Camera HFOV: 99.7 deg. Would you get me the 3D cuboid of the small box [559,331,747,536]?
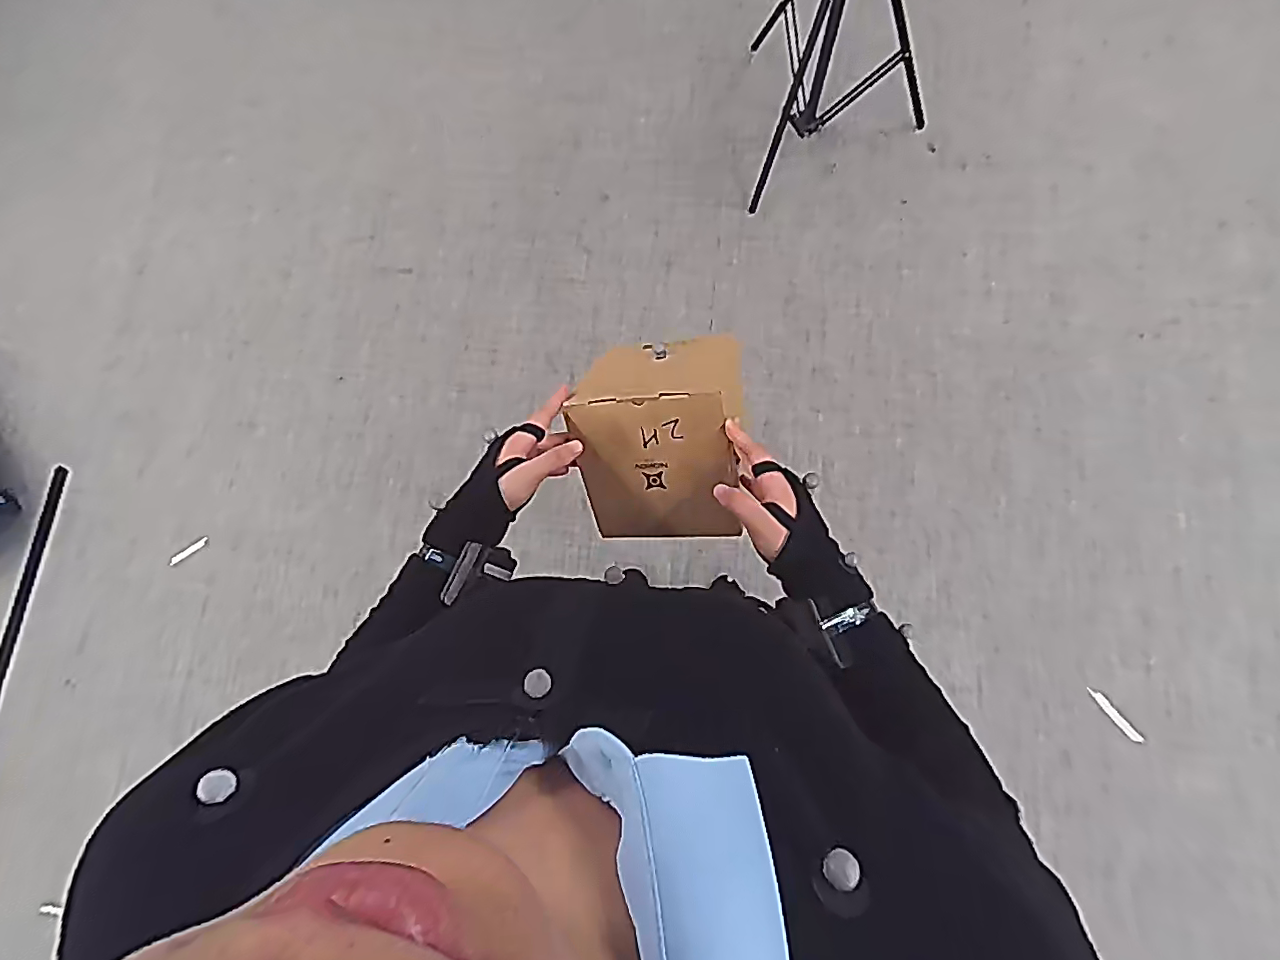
[{"bbox_3d":[0.030,-0.054,0.626,0.168,0.176,0.179,-3,122,17],"label":"small box"}]
